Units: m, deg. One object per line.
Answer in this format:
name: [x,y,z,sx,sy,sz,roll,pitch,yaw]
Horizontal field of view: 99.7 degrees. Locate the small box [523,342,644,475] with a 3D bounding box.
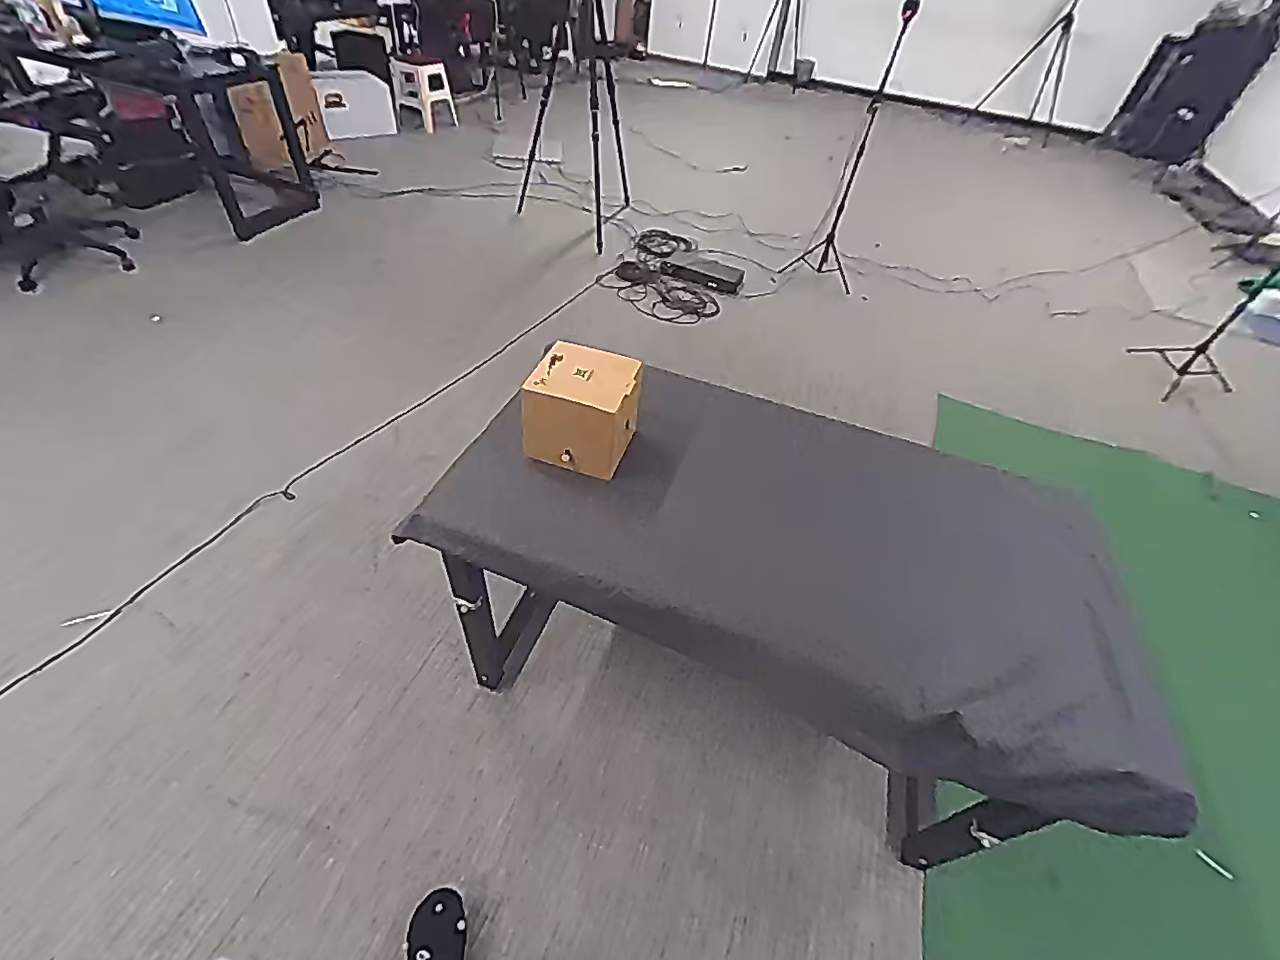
small box: [-0.107,-0.132,1.034,0.179,0.176,0.168,17,47,7]
